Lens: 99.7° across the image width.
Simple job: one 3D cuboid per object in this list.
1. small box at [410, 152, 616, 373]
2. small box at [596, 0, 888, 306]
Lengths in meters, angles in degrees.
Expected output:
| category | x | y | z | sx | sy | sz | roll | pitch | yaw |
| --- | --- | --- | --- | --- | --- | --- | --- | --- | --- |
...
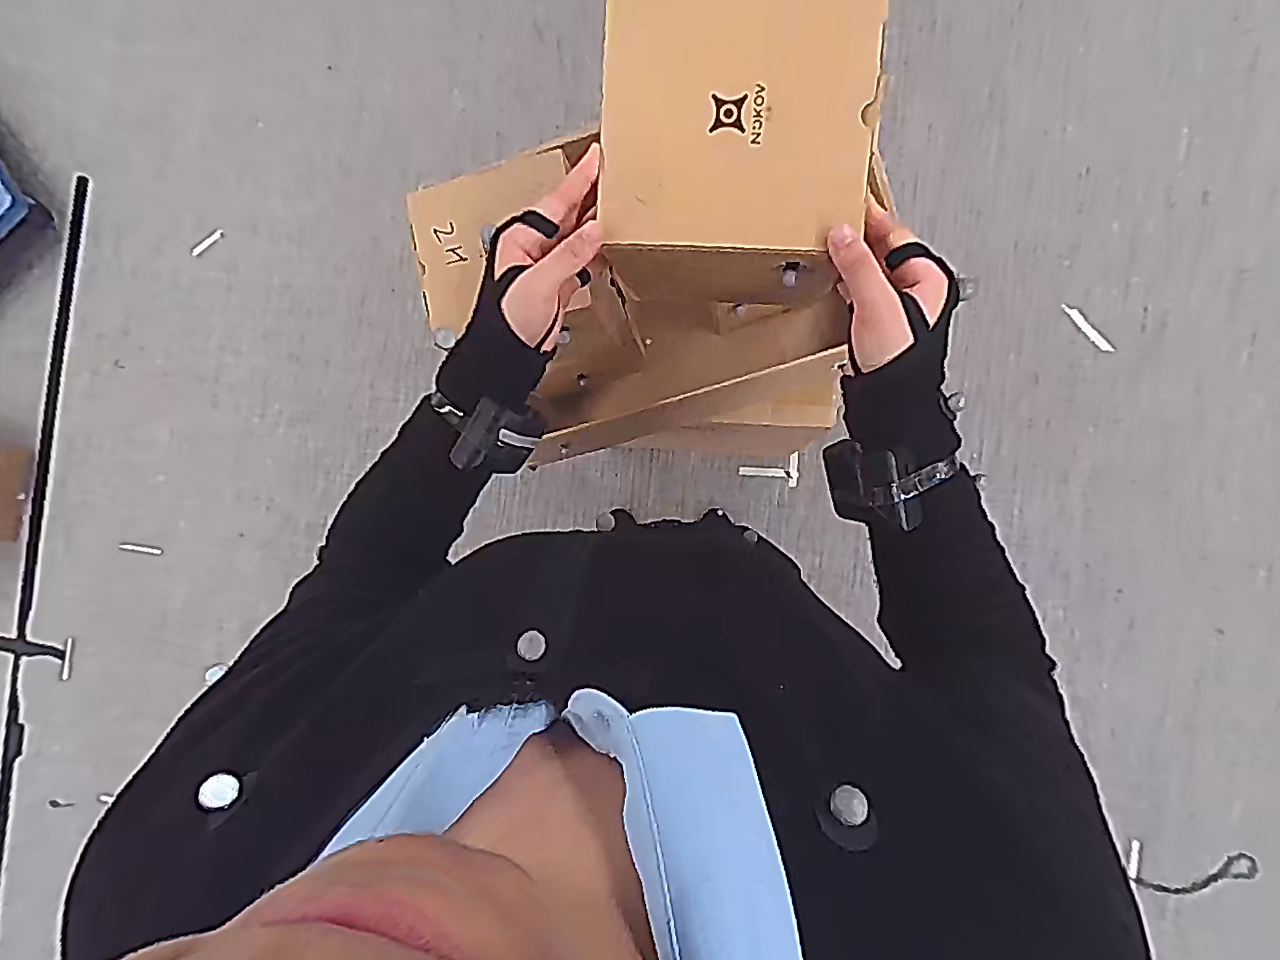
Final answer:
| category | x | y | z | sx | sy | sz | roll | pitch | yaw |
| --- | --- | --- | --- | --- | --- | --- | --- | --- | --- |
| small box | -0.131 | -0.235 | 0.631 | 0.179 | 0.176 | 0.168 | -12 | 88 | 8 |
| small box | 0.072 | -0.240 | 0.426 | 0.179 | 0.176 | 0.168 | 4 | 96 | 6 |
